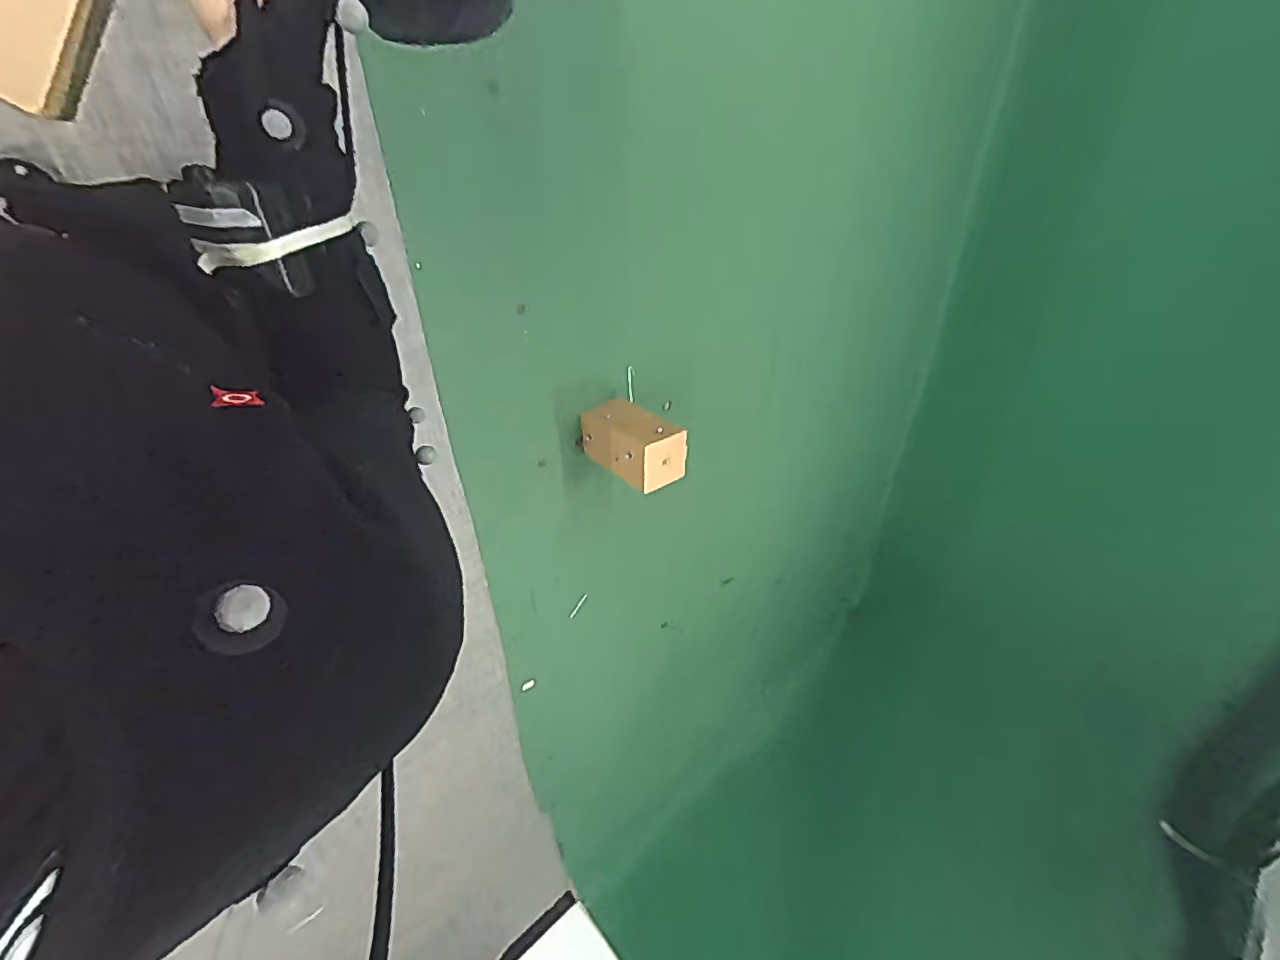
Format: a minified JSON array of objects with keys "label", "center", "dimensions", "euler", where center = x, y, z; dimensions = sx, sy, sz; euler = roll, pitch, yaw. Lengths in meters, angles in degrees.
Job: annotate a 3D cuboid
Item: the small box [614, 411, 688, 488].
[{"label":"small box","center":[0.029,-0.101,1.703],"dimensions":[0.179,0.176,0.168],"euler":[-24,129,-34]}]
